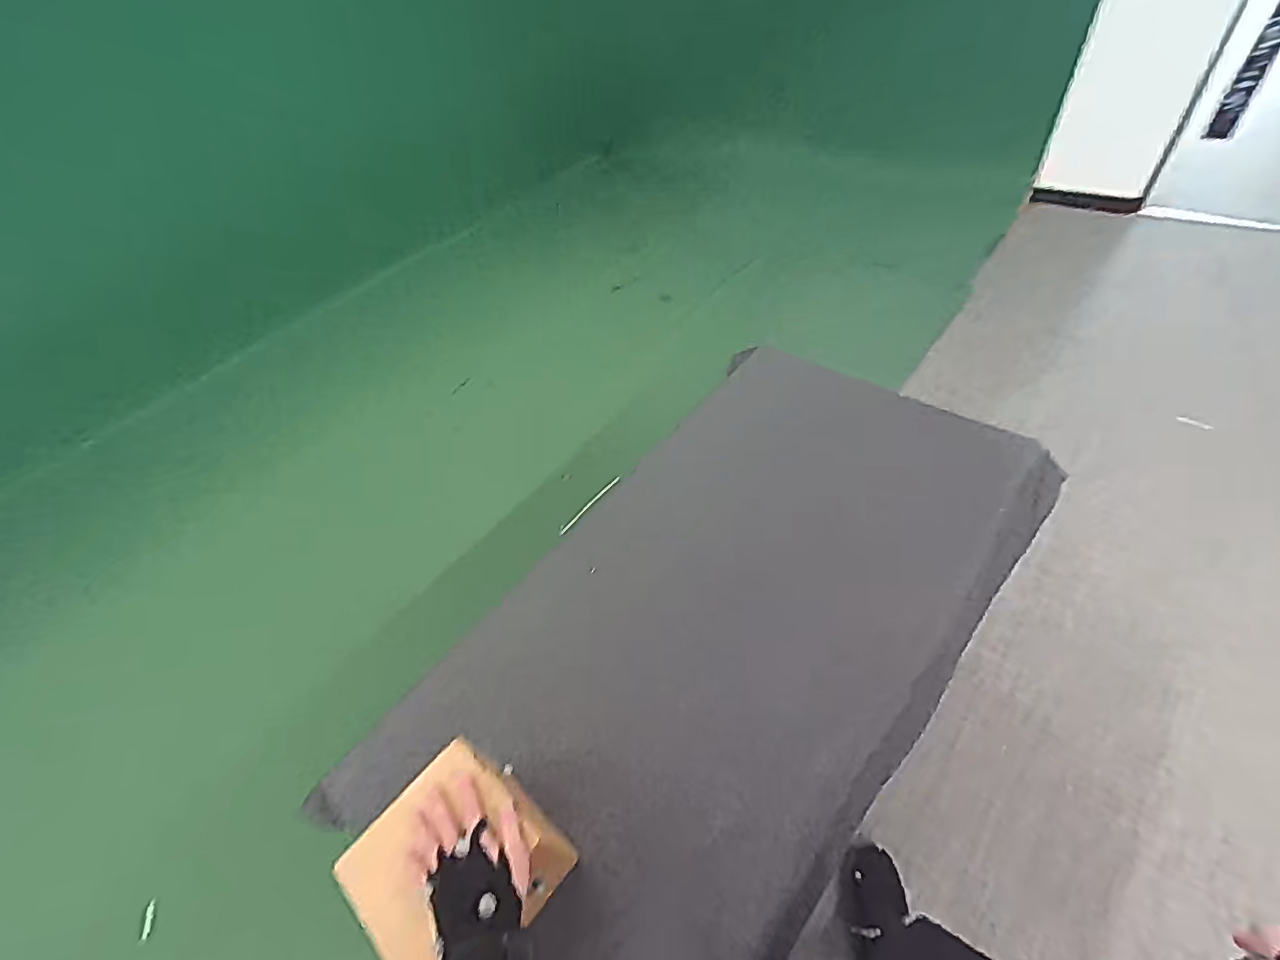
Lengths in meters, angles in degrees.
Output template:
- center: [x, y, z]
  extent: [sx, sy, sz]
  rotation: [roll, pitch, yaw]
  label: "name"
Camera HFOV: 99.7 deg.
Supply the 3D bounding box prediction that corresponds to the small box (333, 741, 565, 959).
- center: [-0.206, 0.455, 0.635]
  extent: [0.168, 0.176, 0.179]
  rotation: [31, 61, 34]
  label: "small box"
